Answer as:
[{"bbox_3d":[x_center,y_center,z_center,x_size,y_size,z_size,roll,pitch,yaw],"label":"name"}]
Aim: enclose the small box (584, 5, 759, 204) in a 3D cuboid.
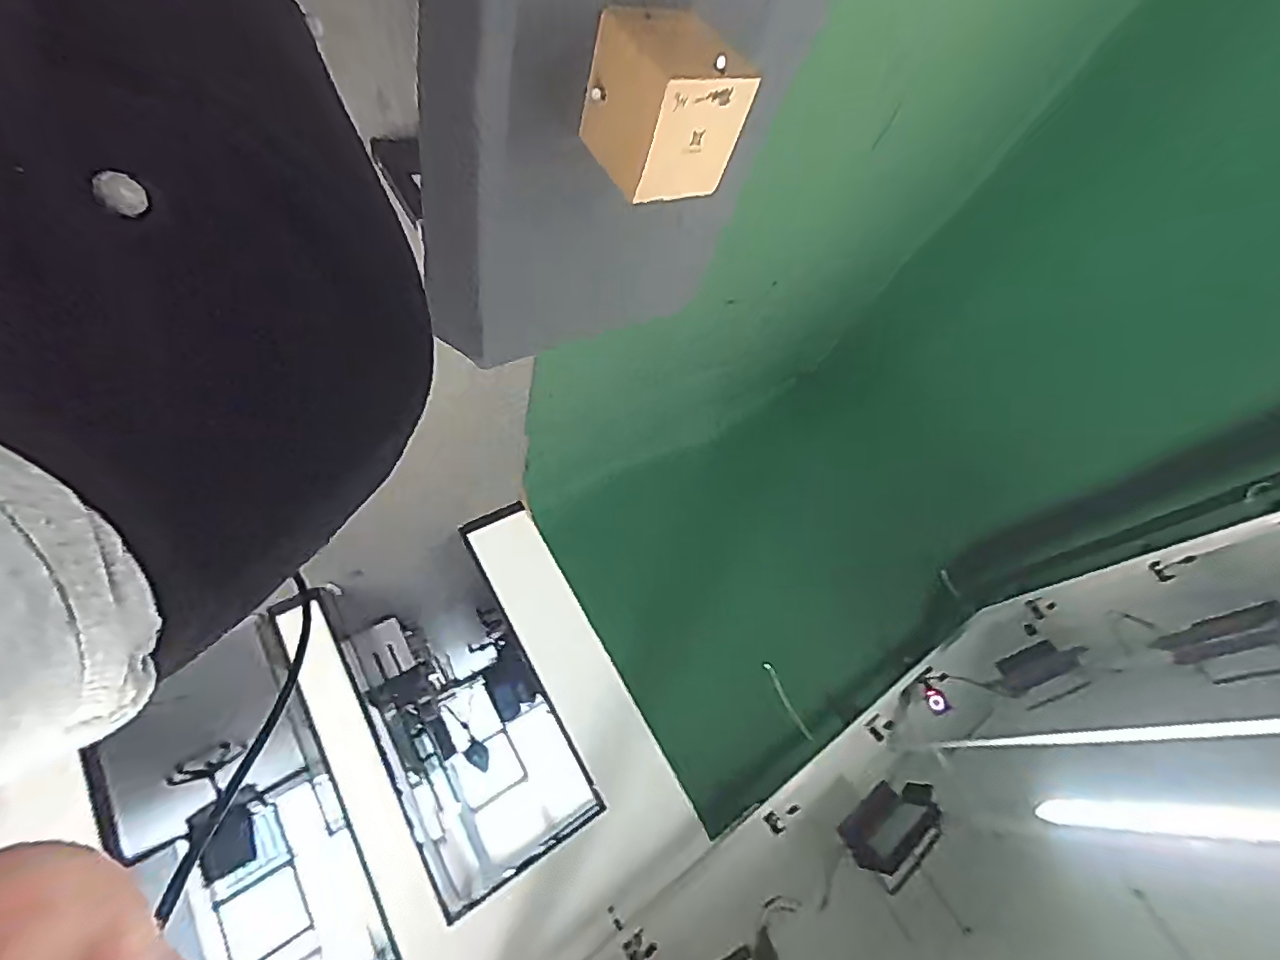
[{"bbox_3d":[0.035,-0.546,0.797,0.168,0.176,0.179,-24,162,-28],"label":"small box"}]
